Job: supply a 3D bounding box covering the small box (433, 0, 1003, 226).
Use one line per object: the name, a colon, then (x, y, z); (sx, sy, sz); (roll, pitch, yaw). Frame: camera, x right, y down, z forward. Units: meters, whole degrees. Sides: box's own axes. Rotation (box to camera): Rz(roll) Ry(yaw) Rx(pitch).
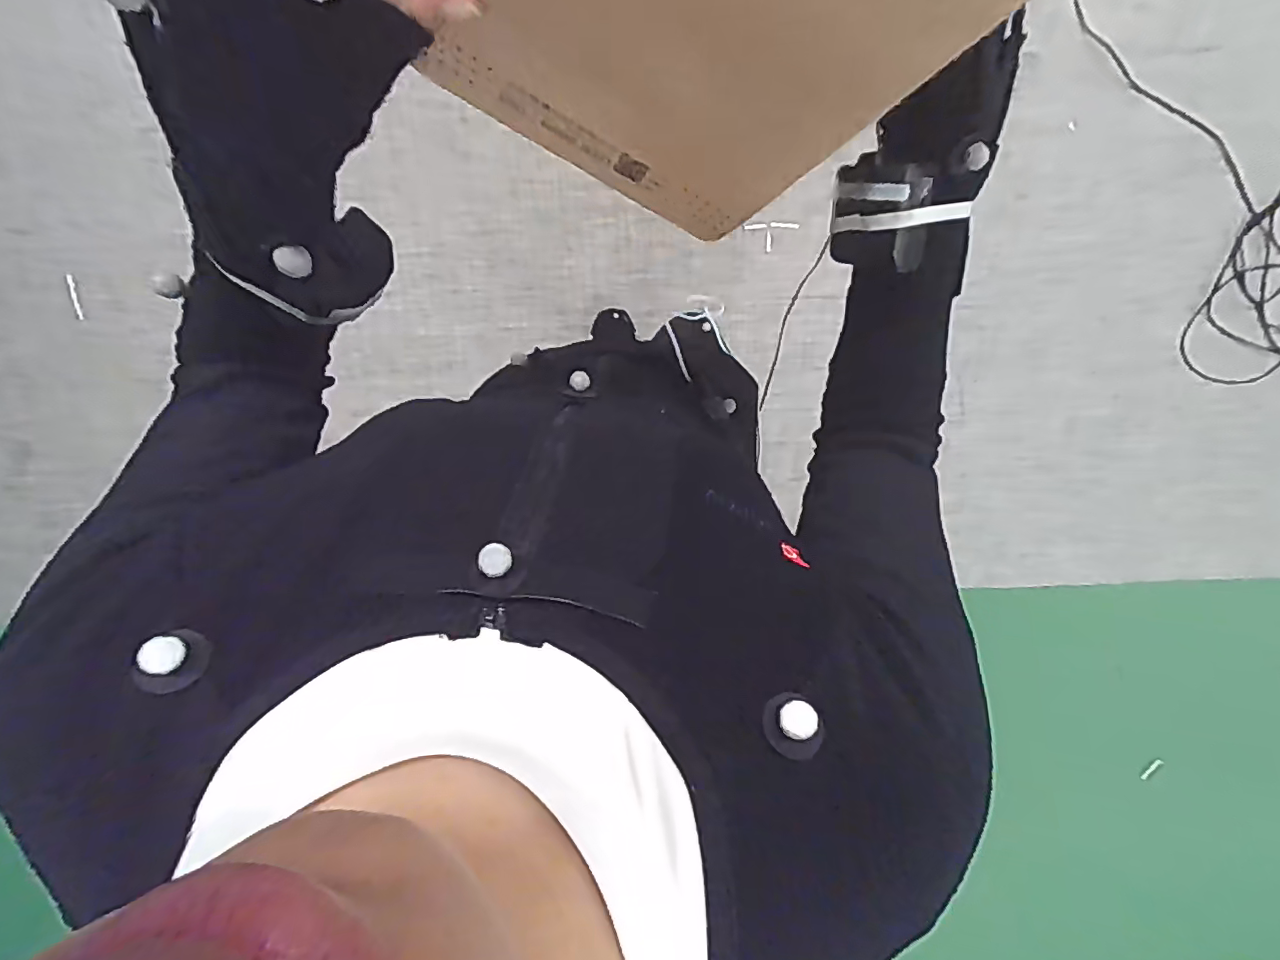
small box: (0.029, -0.244, 0.210); (0.168, 0.176, 0.179); (20, 80, -22)
